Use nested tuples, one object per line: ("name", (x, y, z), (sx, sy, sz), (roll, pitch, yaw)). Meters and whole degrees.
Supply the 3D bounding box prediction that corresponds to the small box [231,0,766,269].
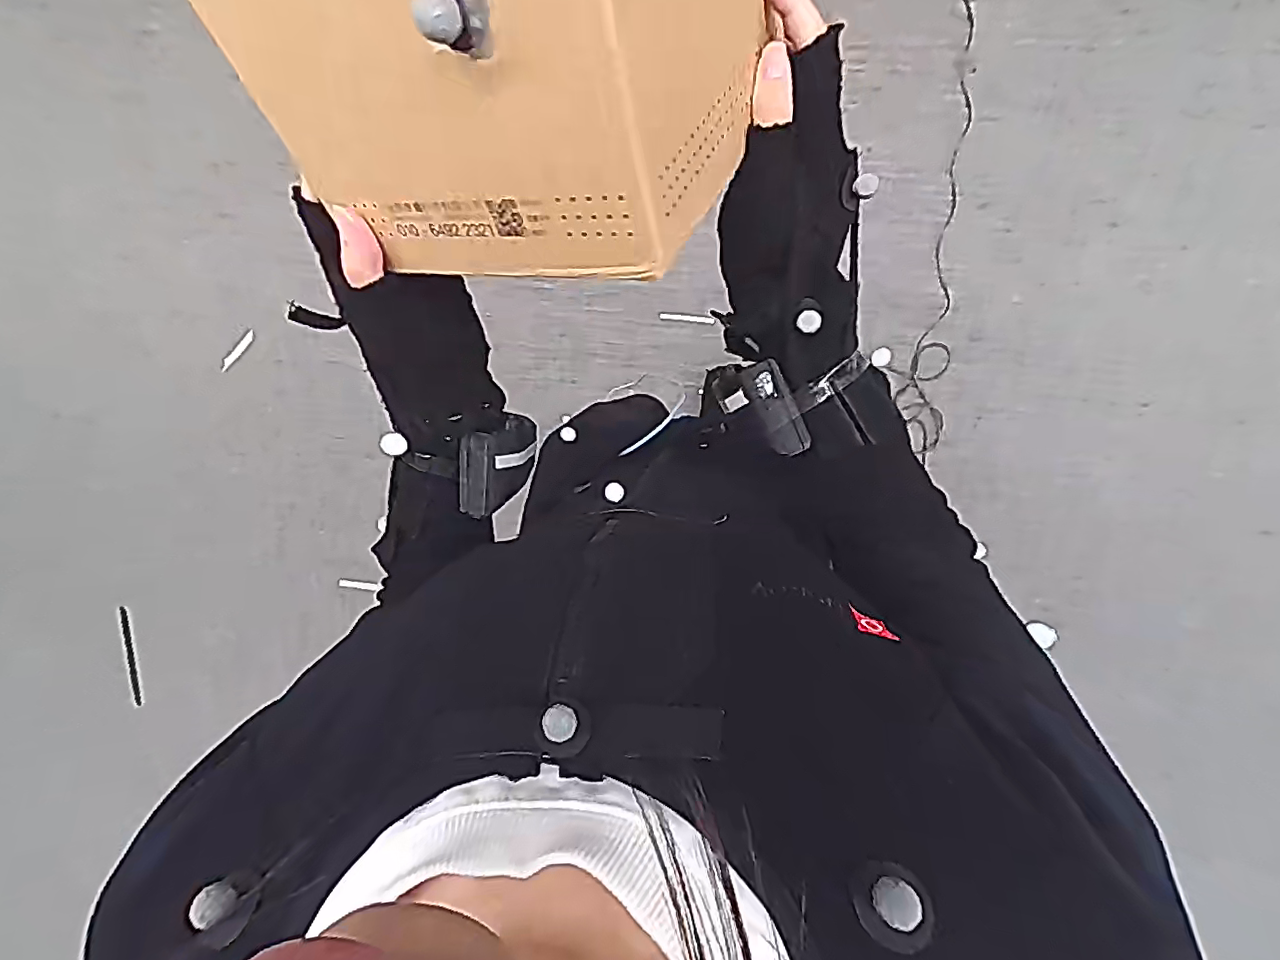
("small box", (-0.046, -0.212, 0.236), (0.168, 0.179, 0.176), (11, 146, 24))
